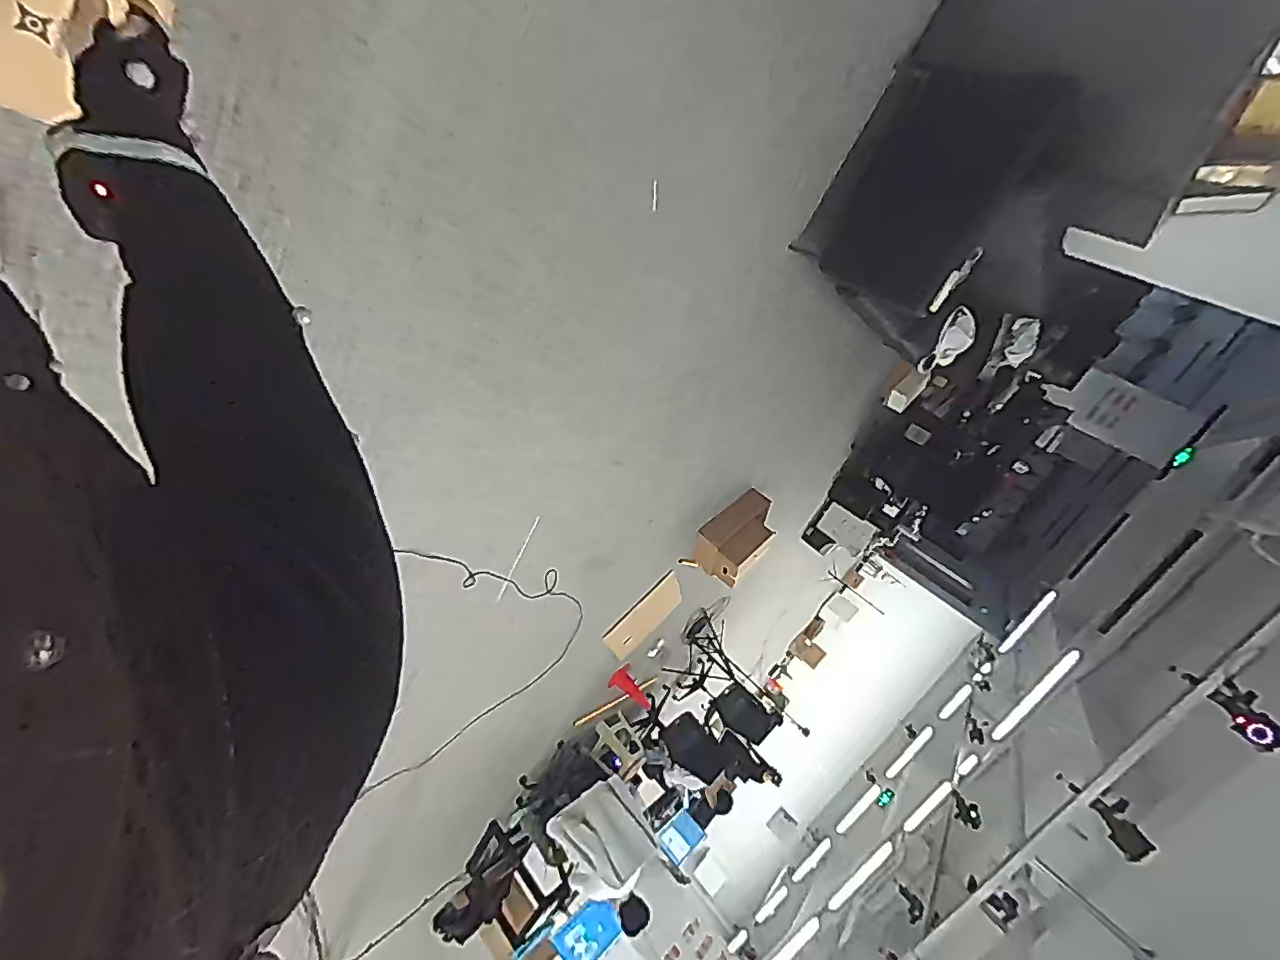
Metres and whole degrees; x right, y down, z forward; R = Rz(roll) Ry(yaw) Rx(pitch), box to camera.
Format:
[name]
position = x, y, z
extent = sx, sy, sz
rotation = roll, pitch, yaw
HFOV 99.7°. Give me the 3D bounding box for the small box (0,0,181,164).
[small box]
position = -0.614, -0.463, 0.548
extent = 0.179, 0.176, 0.168
rotation = 1, 121, -56
